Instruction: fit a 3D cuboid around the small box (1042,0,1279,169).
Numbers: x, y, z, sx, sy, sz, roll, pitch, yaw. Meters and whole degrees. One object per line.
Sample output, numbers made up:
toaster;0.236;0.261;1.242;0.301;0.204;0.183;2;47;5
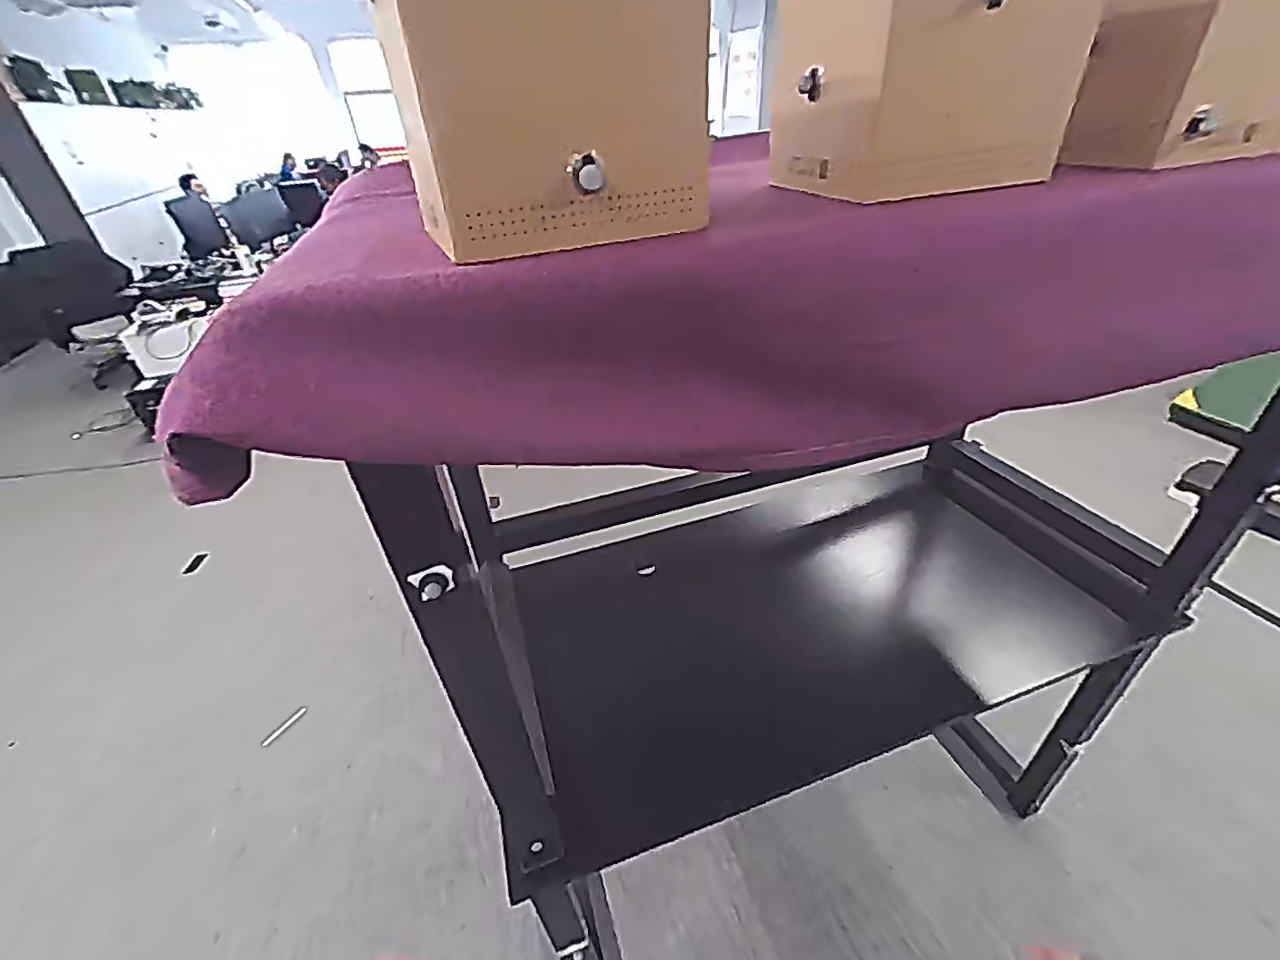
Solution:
small box;0.473;-0.387;0.491;0.168;0.176;0.179;-14;35;-13

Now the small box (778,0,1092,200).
small box;0.225;-0.335;0.441;0.179;0.176;0.168;-12;35;-10

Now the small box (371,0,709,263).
small box;-0.068;-0.255;0.359;0.179;0.176;0.168;-17;36;-19
